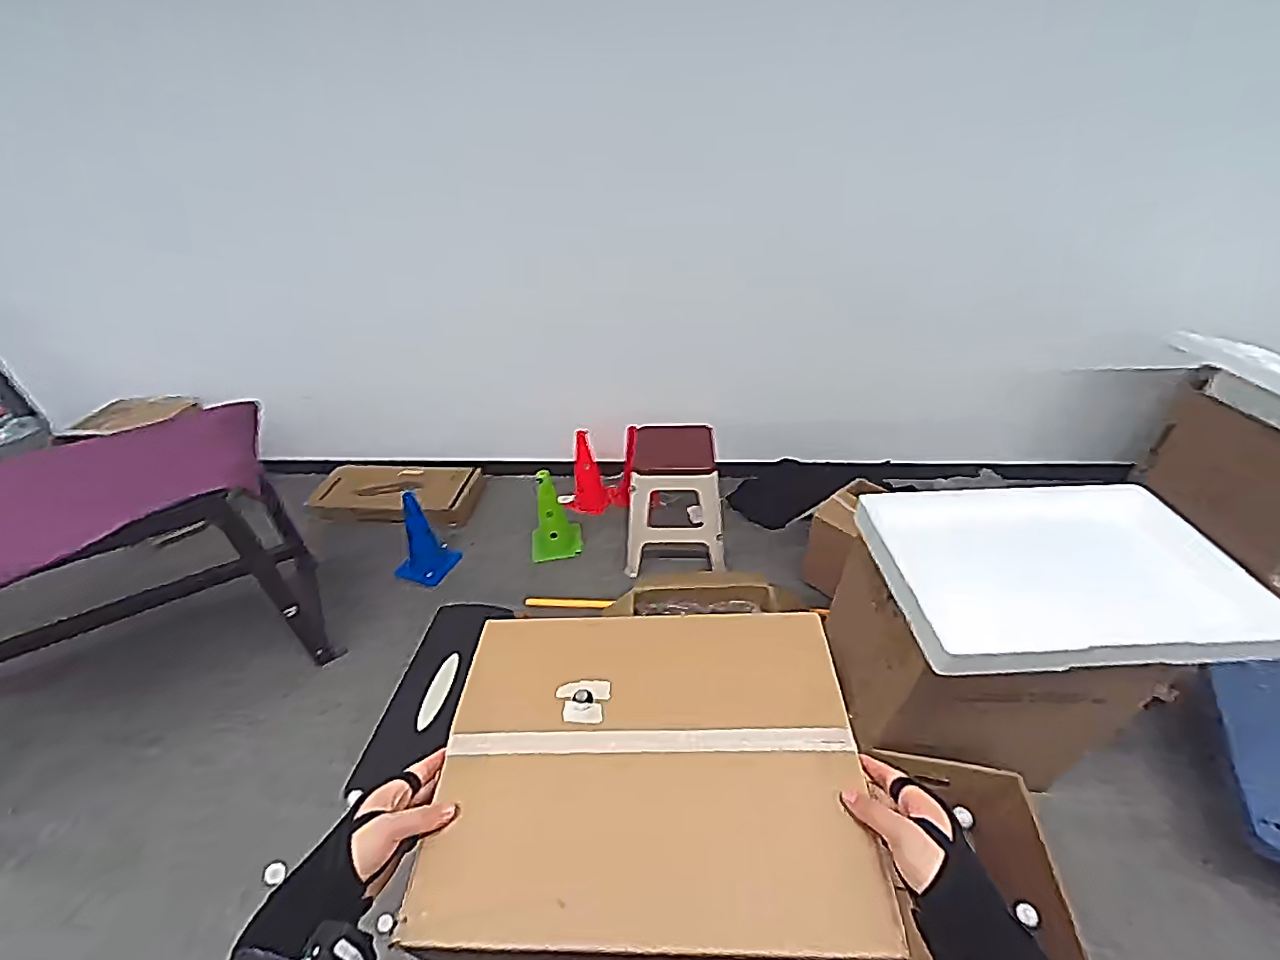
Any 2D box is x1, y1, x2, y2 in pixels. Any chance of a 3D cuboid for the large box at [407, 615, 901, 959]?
[{"bbox_3d":[0.022,0.389,0.636,0.408,0.320,0.320,-4,37,4],"label":"large box"}]
